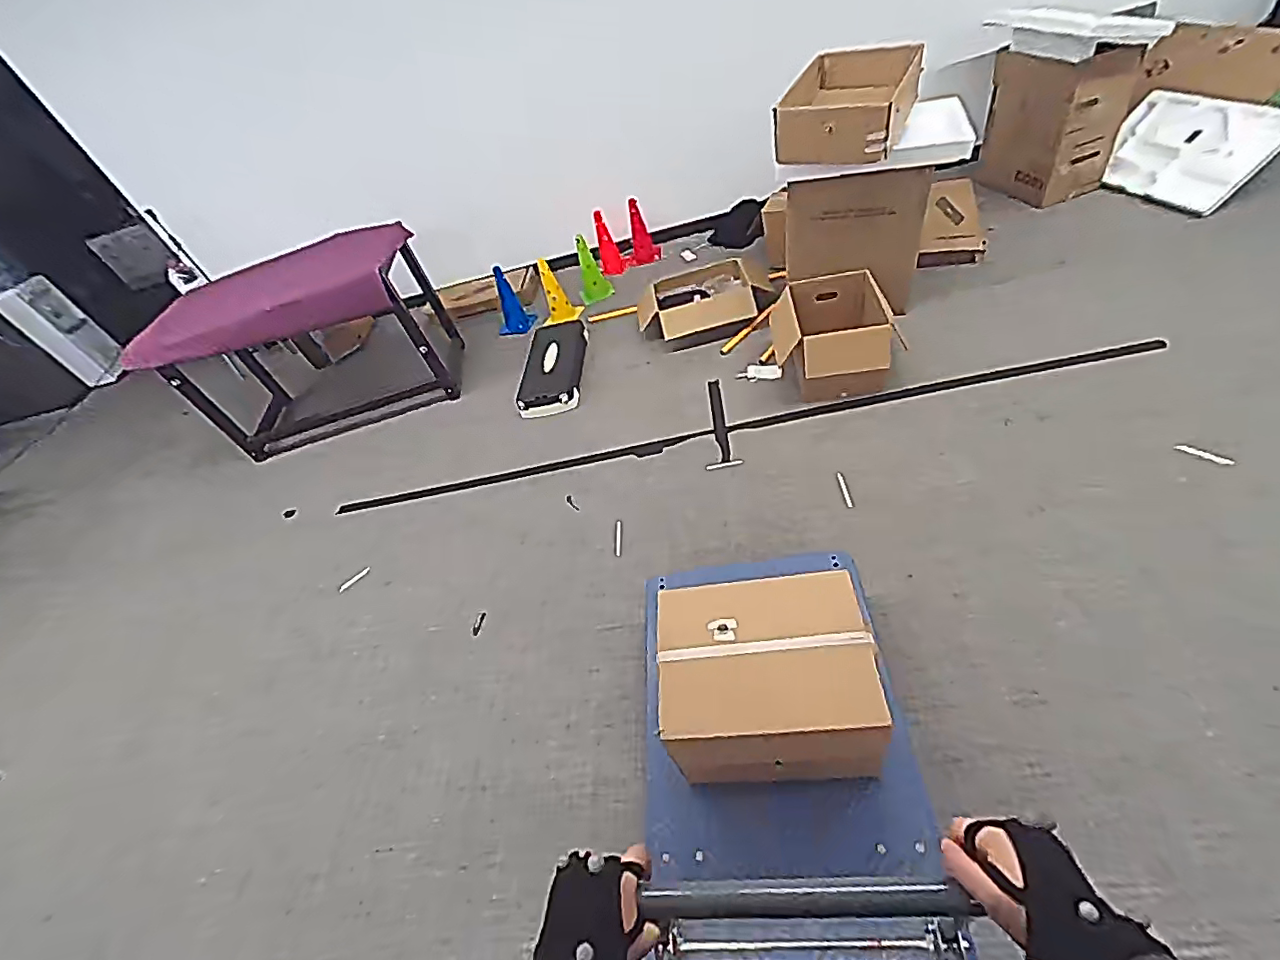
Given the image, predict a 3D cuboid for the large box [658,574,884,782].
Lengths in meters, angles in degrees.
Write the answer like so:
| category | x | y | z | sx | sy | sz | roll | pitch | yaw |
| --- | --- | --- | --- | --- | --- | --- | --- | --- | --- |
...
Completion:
| category | x | y | z | sx | sy | sz | roll | pitch | yaw |
| --- | --- | --- | --- | --- | --- | --- | --- | --- | --- |
| large box | 0.270 | 0.440 | 1.173 | 0.408 | 0.320 | 0.320 | -10 | 45 | 12 |
